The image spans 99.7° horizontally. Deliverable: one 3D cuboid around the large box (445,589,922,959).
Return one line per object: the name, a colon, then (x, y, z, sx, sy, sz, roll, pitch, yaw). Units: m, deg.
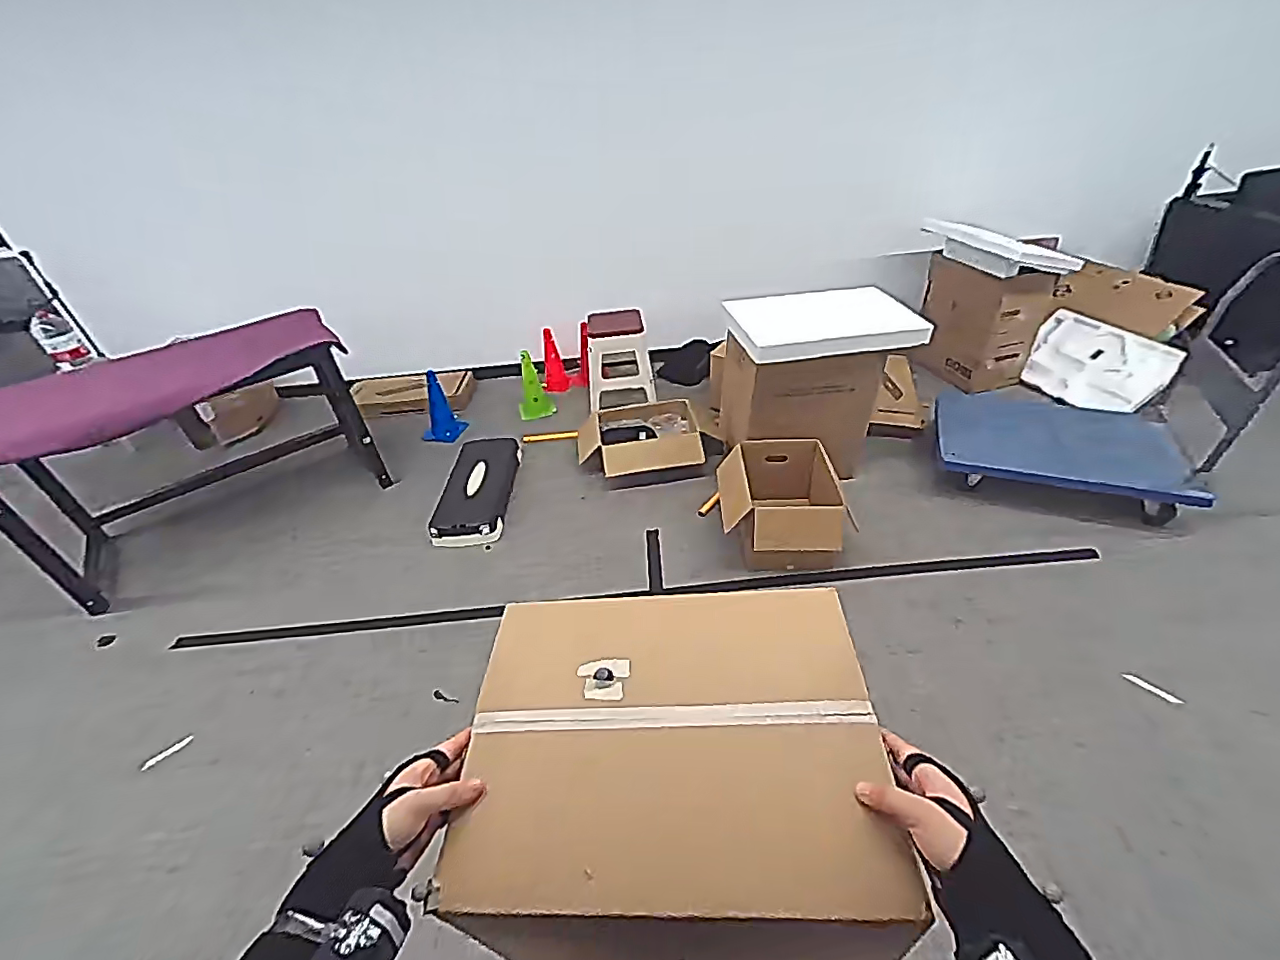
large box: (0.051, 0.363, 0.651, 0.408, 0.320, 0.320, -5, 39, 6)
